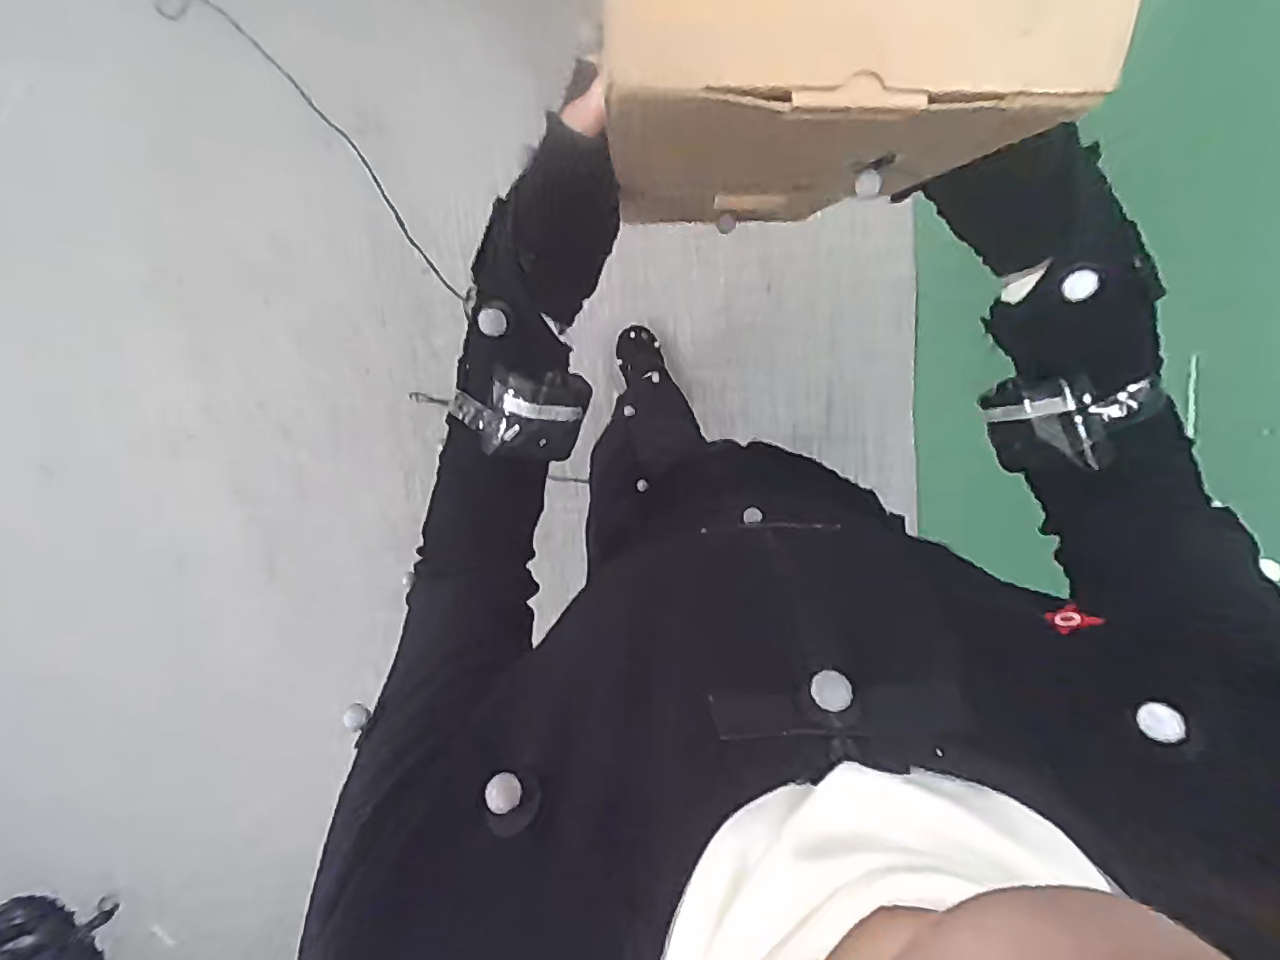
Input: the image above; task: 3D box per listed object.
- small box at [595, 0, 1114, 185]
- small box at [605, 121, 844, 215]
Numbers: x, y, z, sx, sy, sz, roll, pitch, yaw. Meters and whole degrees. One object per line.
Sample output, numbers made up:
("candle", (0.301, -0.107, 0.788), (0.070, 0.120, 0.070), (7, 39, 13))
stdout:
("small box", (0.066, -0.236, 0.227), (0.168, 0.176, 0.179), (-1, 106, -2))
("small box", (0.059, -0.290, 0.381), (0.168, 0.176, 0.179), (-2, 108, -1))
